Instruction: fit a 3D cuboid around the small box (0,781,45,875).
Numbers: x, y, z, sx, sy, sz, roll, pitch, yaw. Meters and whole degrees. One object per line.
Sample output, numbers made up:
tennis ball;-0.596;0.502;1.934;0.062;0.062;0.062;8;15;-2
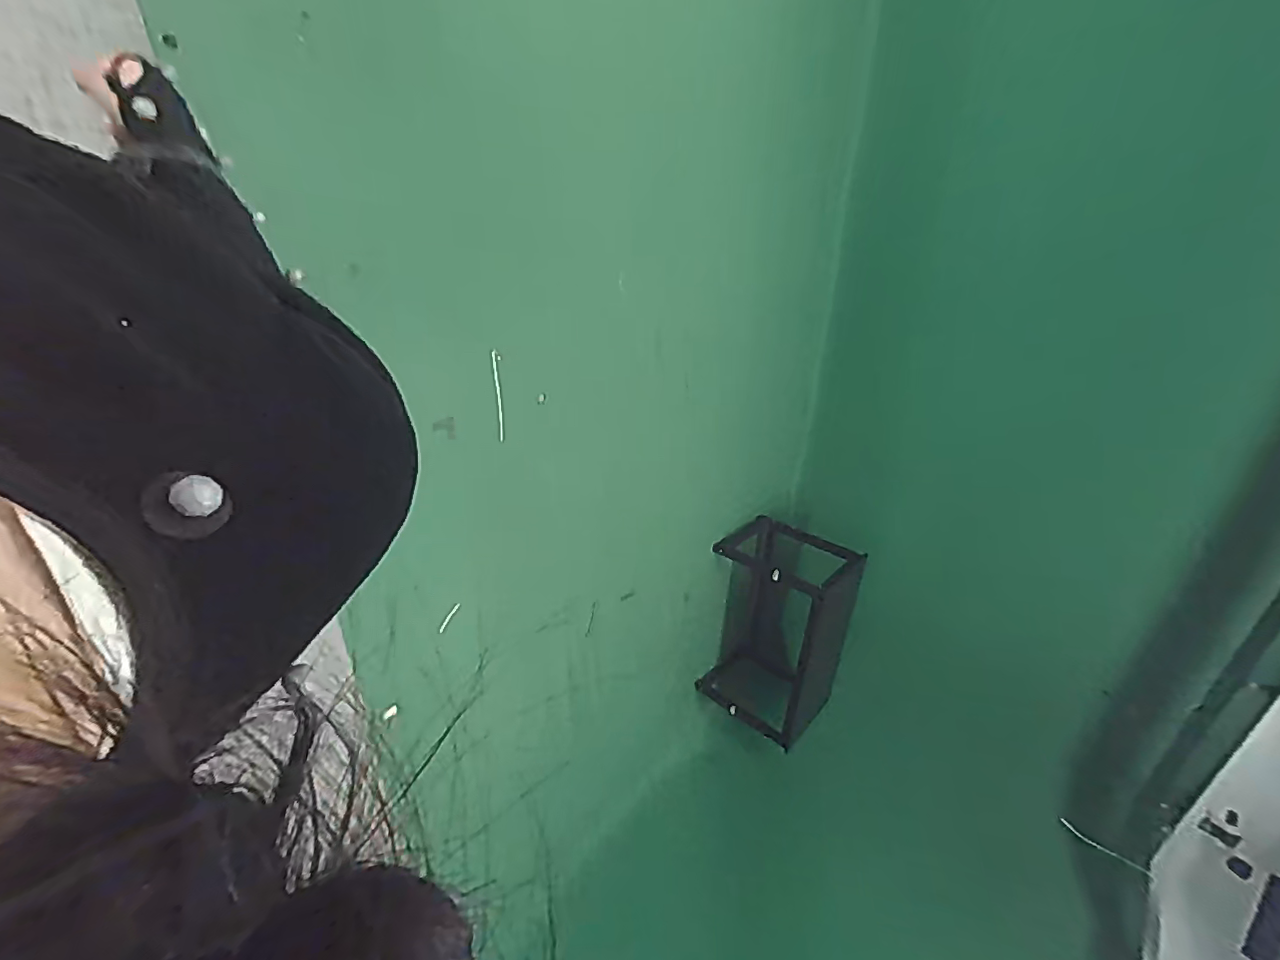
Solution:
small box;-1.359;0.747;1.085;0.168;0.176;0.179;-29;129;-36
